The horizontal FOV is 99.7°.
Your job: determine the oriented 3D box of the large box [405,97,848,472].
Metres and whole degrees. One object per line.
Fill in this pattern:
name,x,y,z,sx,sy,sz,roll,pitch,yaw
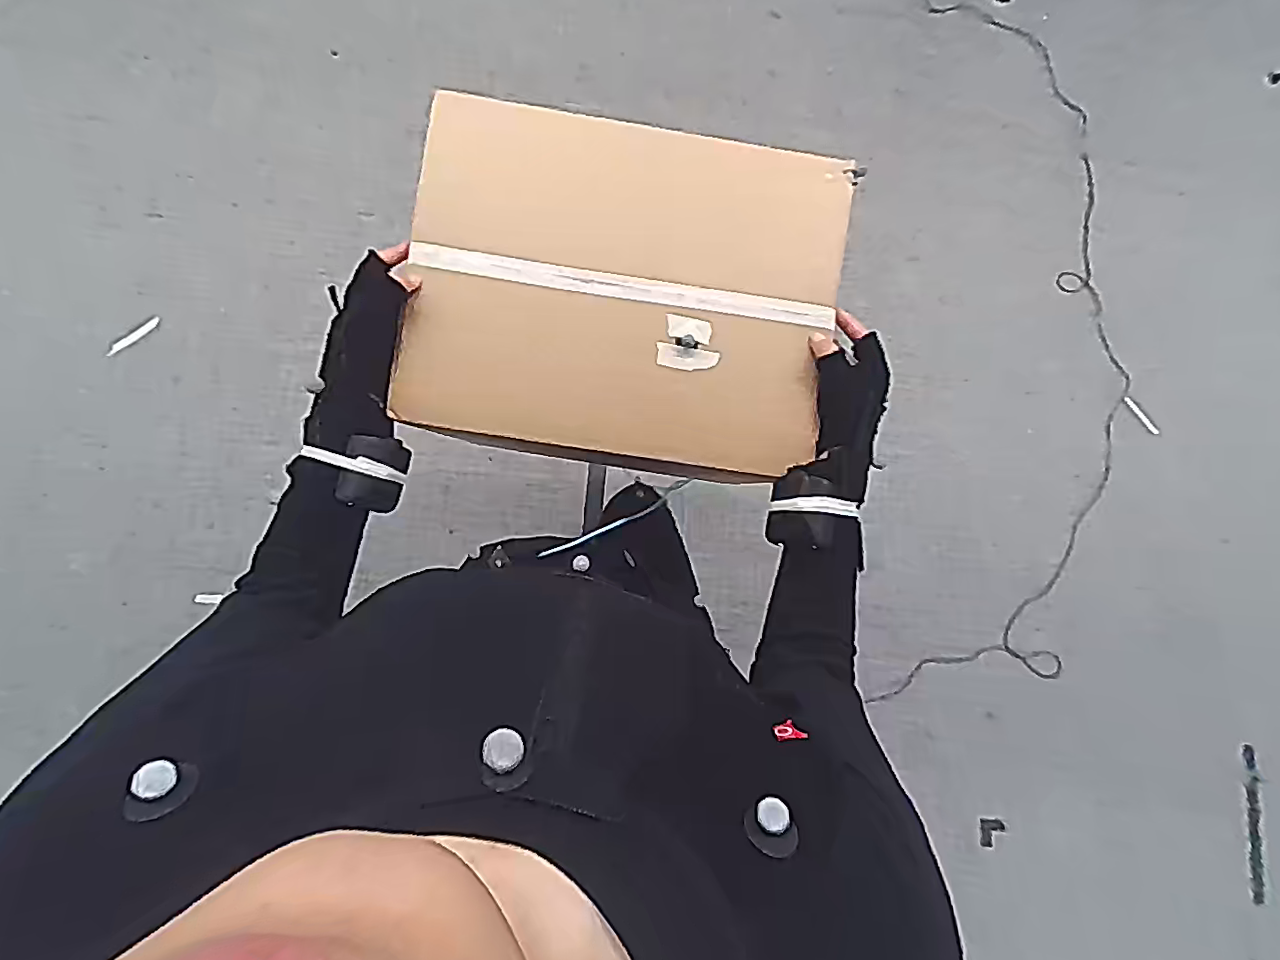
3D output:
large box,-0.018,-0.190,0.673,0.408,0.320,0.320,9,90,-3
